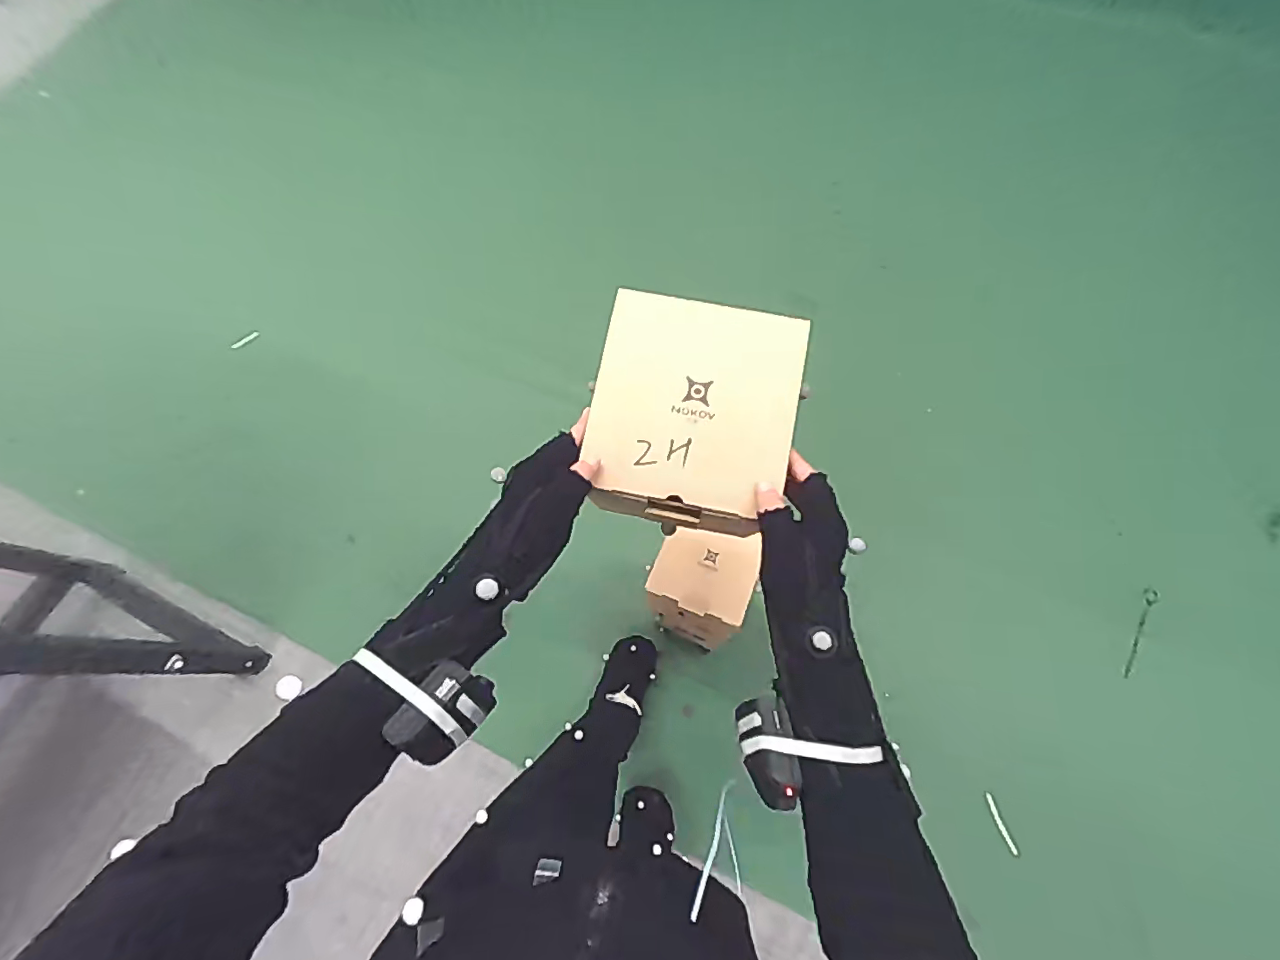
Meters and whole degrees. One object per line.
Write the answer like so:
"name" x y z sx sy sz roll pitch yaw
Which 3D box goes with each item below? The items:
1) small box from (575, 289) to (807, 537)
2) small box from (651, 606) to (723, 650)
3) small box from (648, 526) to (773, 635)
"small box" 0.046 -0.050 0.520 0.168 0.176 0.179 11 81 4
"small box" 0.139 0.287 1.278 0.168 0.176 0.179 24 72 11
"small box" 0.121 0.163 0.975 0.168 0.176 0.179 21 71 10
